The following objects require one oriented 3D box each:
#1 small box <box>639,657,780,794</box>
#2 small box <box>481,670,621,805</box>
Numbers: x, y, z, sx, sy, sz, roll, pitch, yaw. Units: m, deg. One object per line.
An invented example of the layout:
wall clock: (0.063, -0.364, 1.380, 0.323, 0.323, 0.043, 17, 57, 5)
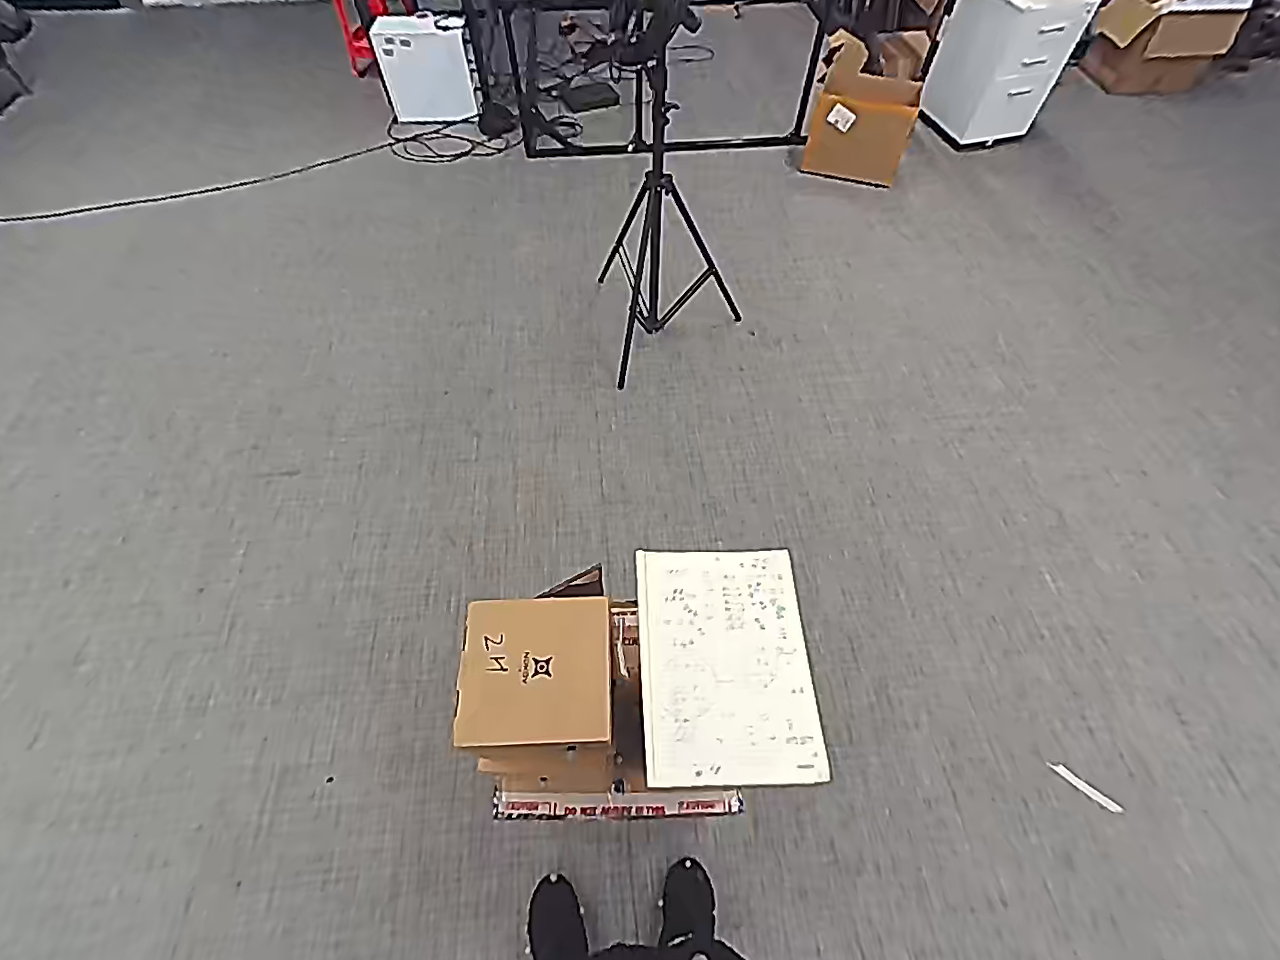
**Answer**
small box: (0.094, 0.383, 0.837, 0.179, 0.176, 0.168, -5, 58, -5)
small box: (-0.122, 0.396, 0.826, 0.179, 0.176, 0.168, 1, 59, 2)
